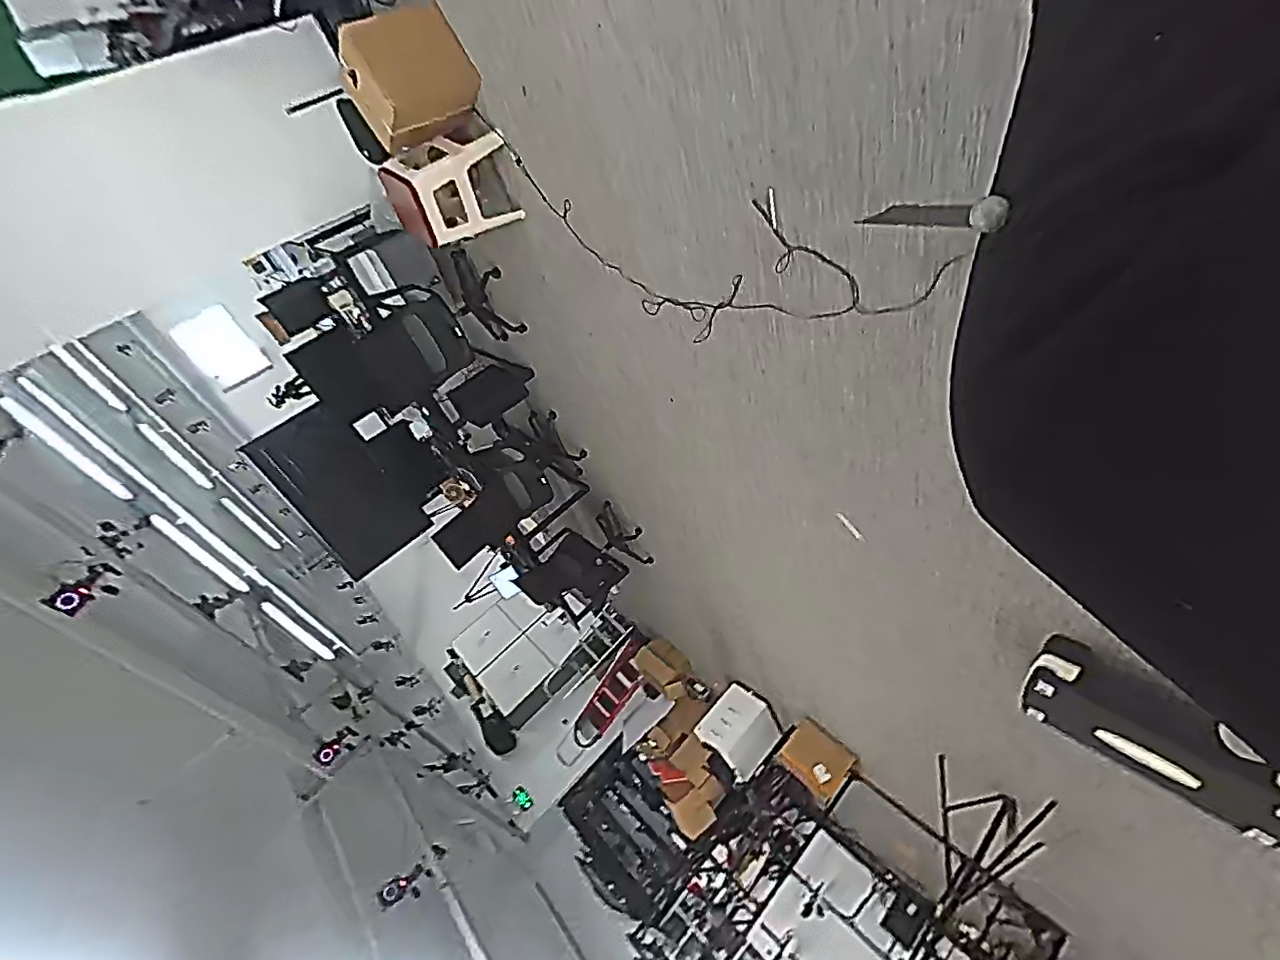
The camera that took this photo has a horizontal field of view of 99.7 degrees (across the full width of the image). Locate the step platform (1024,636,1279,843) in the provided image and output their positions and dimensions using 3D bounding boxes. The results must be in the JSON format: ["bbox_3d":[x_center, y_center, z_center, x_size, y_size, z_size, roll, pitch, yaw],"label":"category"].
[{"bbox_3d":[1.629,0.795,1.708,0.684,0.204,0.286,26,150,42],"label":"step platform"}]
